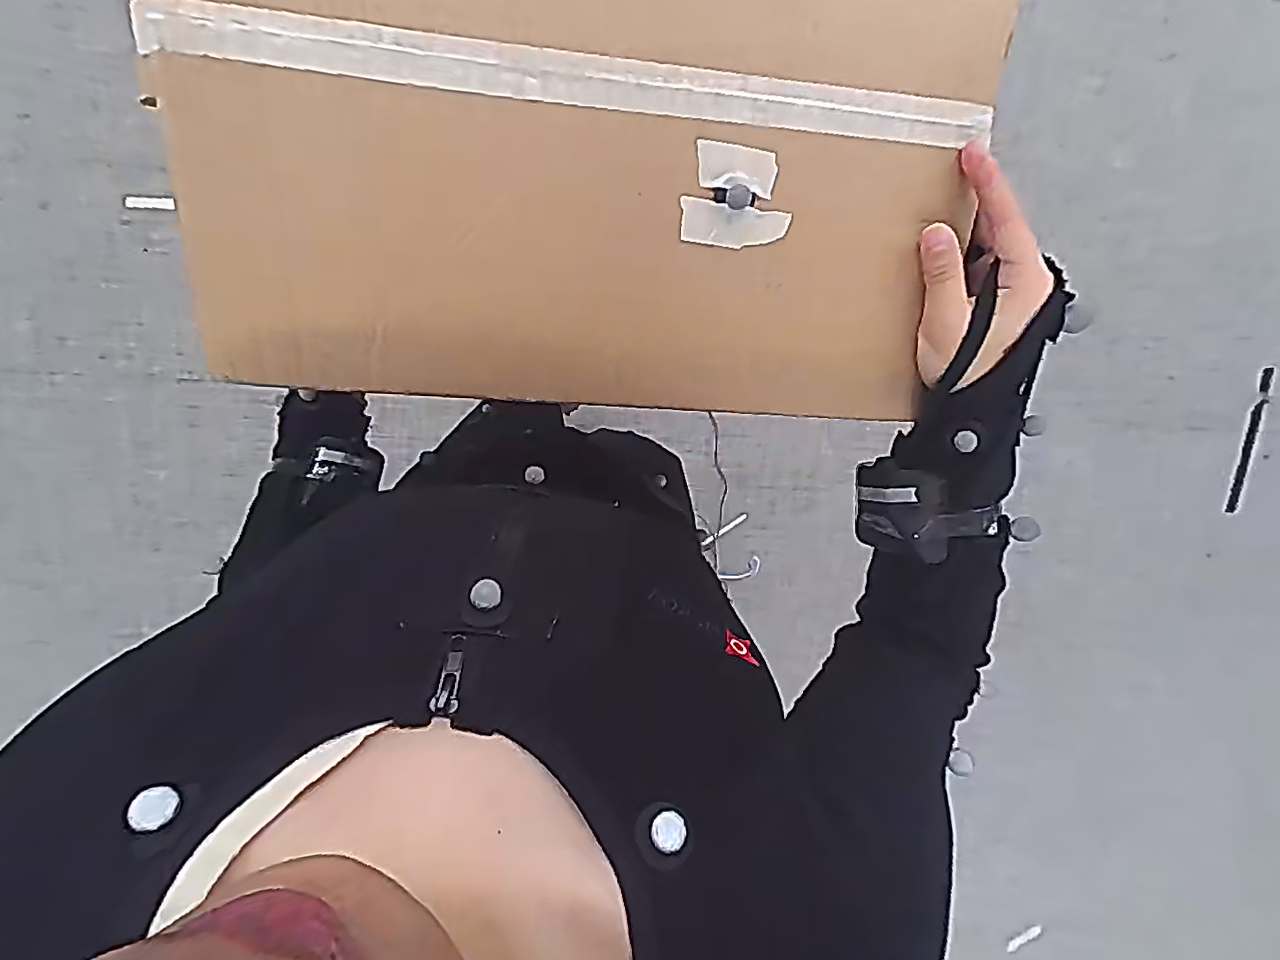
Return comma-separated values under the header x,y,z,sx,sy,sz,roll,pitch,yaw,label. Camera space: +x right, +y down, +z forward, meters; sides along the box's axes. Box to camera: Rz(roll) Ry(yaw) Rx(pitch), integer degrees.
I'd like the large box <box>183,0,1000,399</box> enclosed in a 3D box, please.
x,y,z,sx,sy,sz,roll,pitch,yaw,label
-0.033,-0.244,0.415,0.408,0.320,0.320,1,108,-8,large box
